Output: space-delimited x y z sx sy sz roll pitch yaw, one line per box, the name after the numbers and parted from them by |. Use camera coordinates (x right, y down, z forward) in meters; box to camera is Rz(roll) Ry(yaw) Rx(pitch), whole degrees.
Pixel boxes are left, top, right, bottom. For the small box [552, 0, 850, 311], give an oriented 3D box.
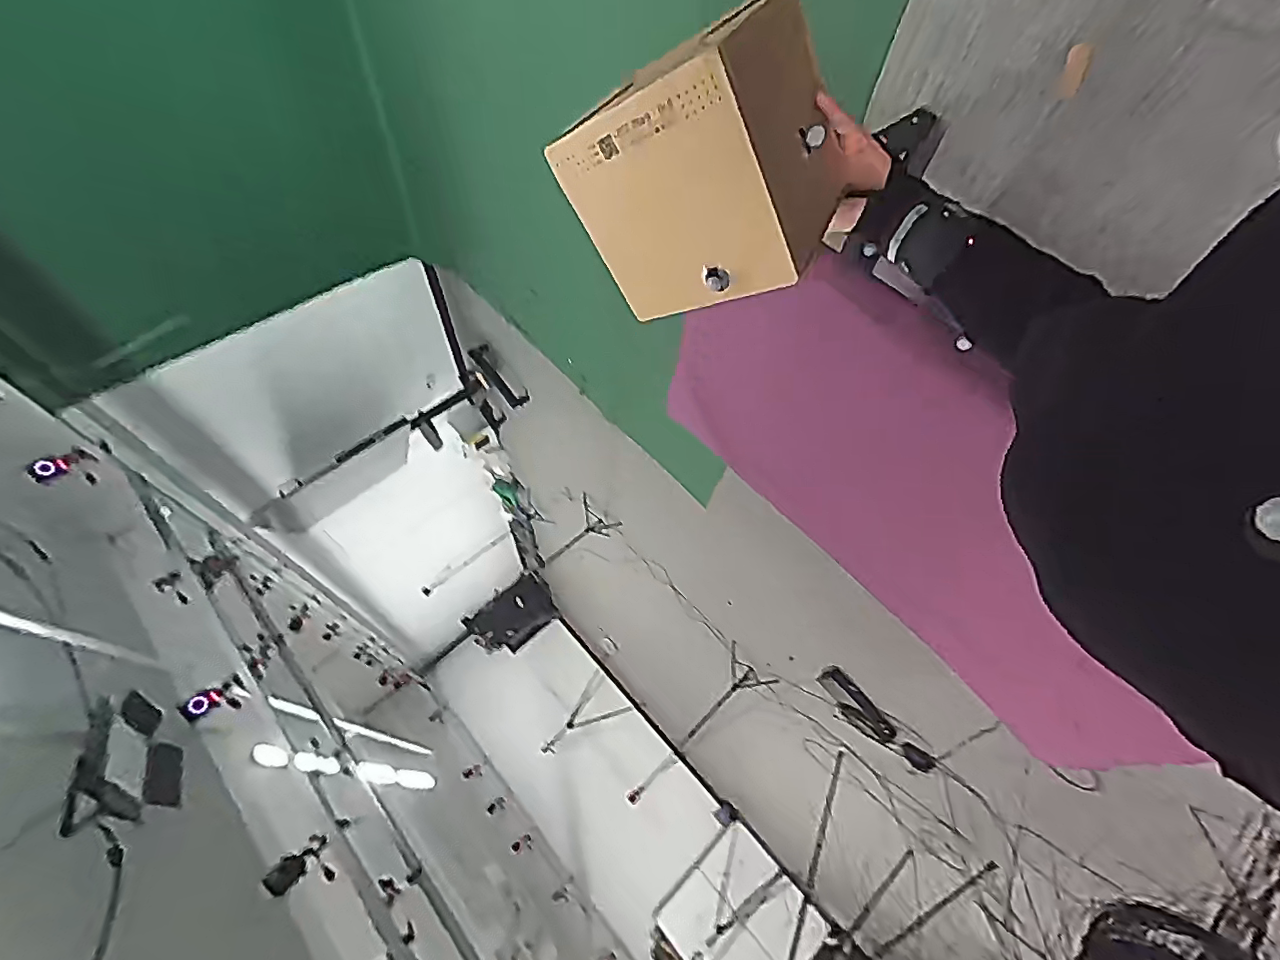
0.061 -0.279 0.460 0.168 0.179 0.176 -1 138 40 | small box
